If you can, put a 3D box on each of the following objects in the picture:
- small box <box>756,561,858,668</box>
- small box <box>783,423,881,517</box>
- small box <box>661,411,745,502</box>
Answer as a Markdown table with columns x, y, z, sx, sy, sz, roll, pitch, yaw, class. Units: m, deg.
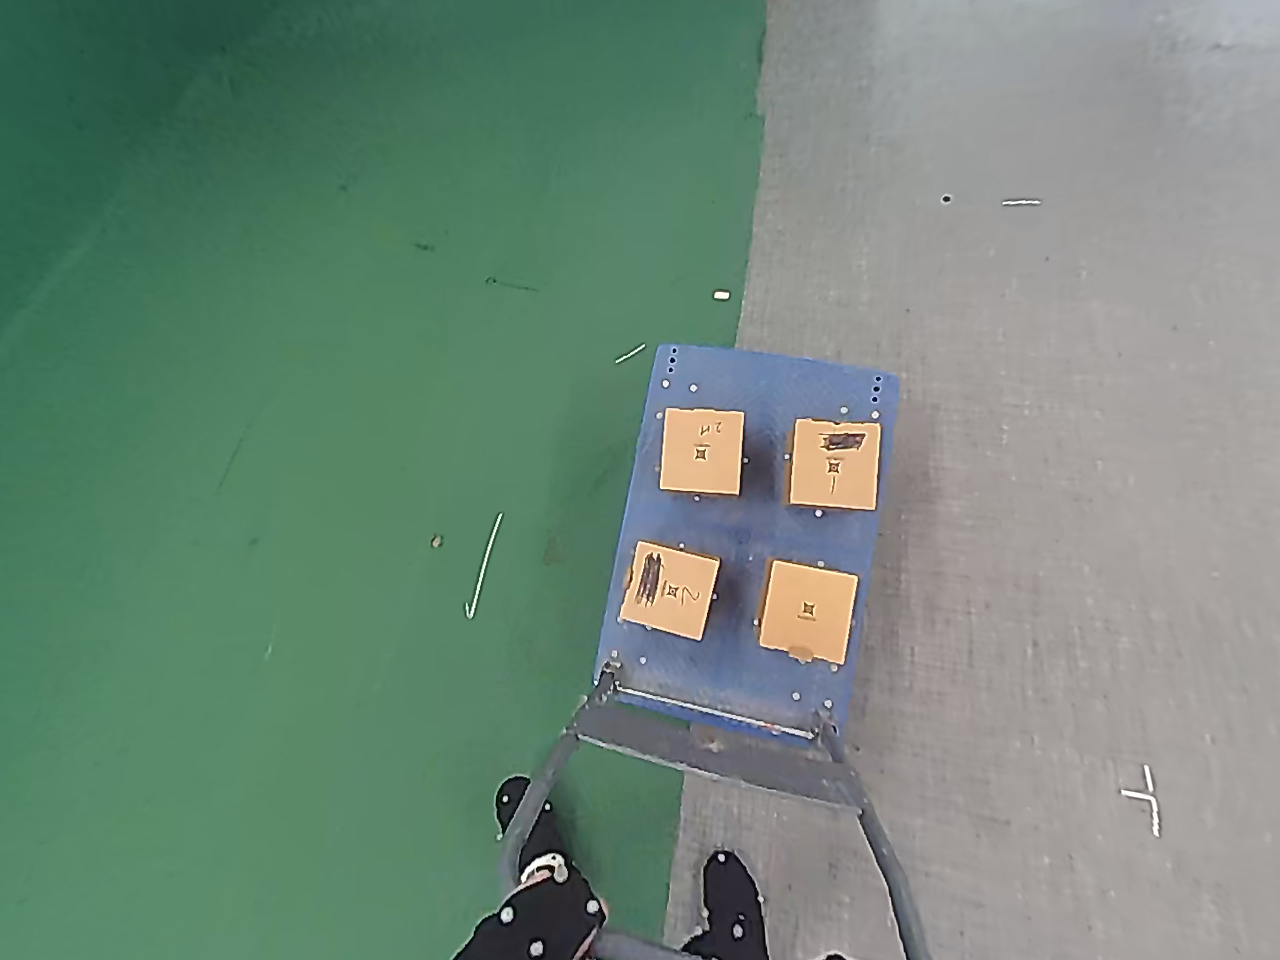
| x | y | z | sx | sy | sz | roll | pitch | yaw | class |
| --- | --- | --- | --- | --- | --- | --- | --- | --- | --- |
| 0.344 | 0.273 | 1.142 | 0.168 | 0.176 | 0.179 | 11 | 86 | 9 | small box |
| 0.404 | -0.016 | 1.163 | 0.168 | 0.176 | 0.179 | 5 | 86 | 9 | small box |
| 0.143 | -0.045 | 1.204 | 0.168 | 0.176 | 0.179 | 5 | 84 | 8 | small box |
